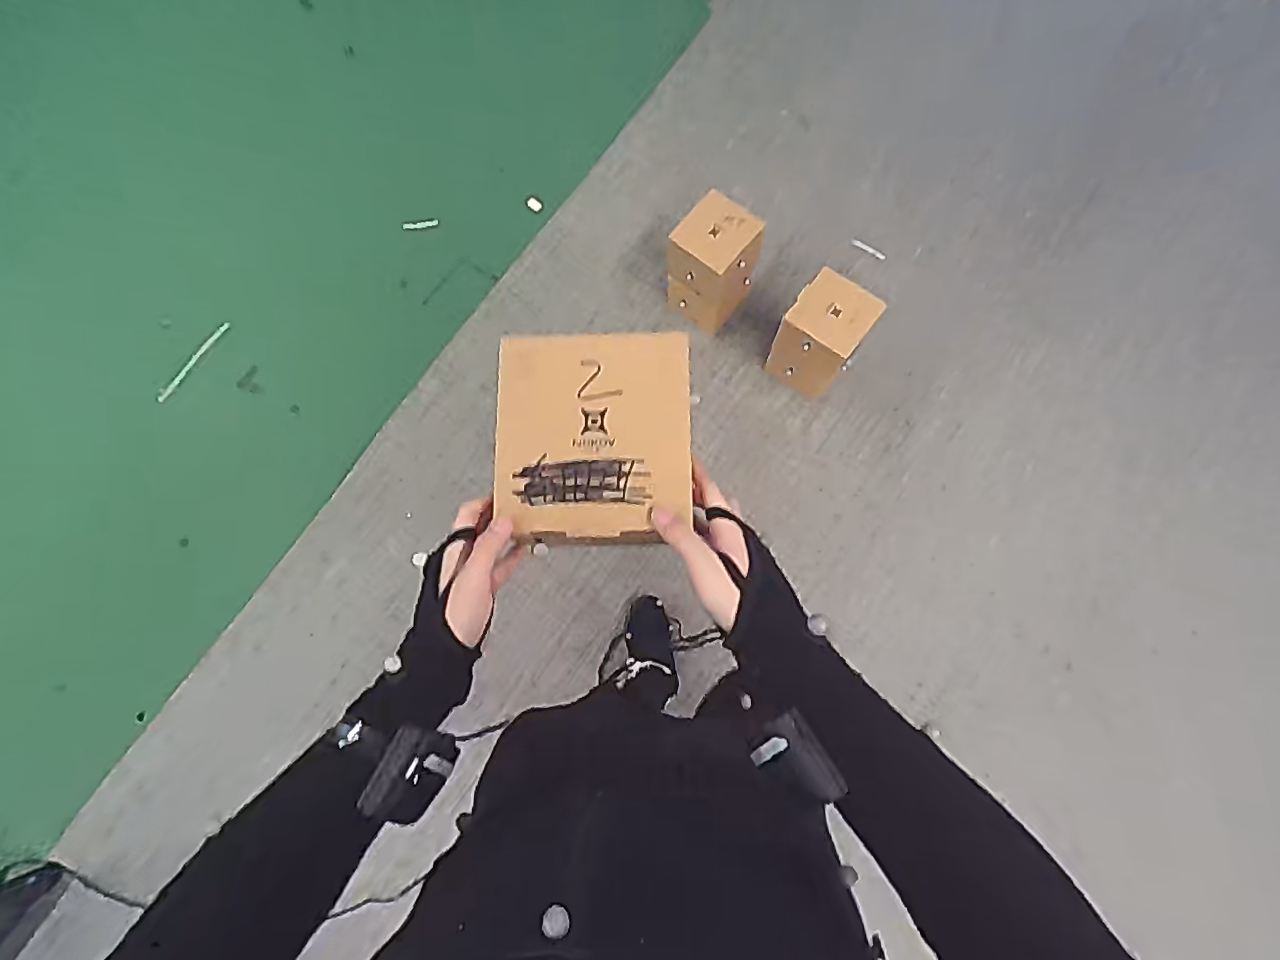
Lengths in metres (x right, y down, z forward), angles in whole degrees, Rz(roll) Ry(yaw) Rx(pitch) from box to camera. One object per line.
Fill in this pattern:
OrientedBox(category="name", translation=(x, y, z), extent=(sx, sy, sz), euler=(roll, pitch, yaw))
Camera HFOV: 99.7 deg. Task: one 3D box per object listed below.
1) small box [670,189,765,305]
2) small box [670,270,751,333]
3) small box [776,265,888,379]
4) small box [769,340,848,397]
OrientedBox(category="small box", translation=(0.194, -0.585, 1.381), extent=(0.168, 0.176, 0.179), euler=(40, 83, 10))
OrientedBox(category="small box", translation=(0.203, -0.555, 1.542), extent=(0.168, 0.176, 0.179), euler=(38, 83, 10))
OrientedBox(category="small box", translation=(0.456, -0.375, 1.318), extent=(0.179, 0.176, 0.168), euler=(38, 84, 10))
OrientedBox(category="small box", translation=(0.474, -0.352, 1.479), extent=(0.179, 0.176, 0.168), euler=(36, 84, 11))
